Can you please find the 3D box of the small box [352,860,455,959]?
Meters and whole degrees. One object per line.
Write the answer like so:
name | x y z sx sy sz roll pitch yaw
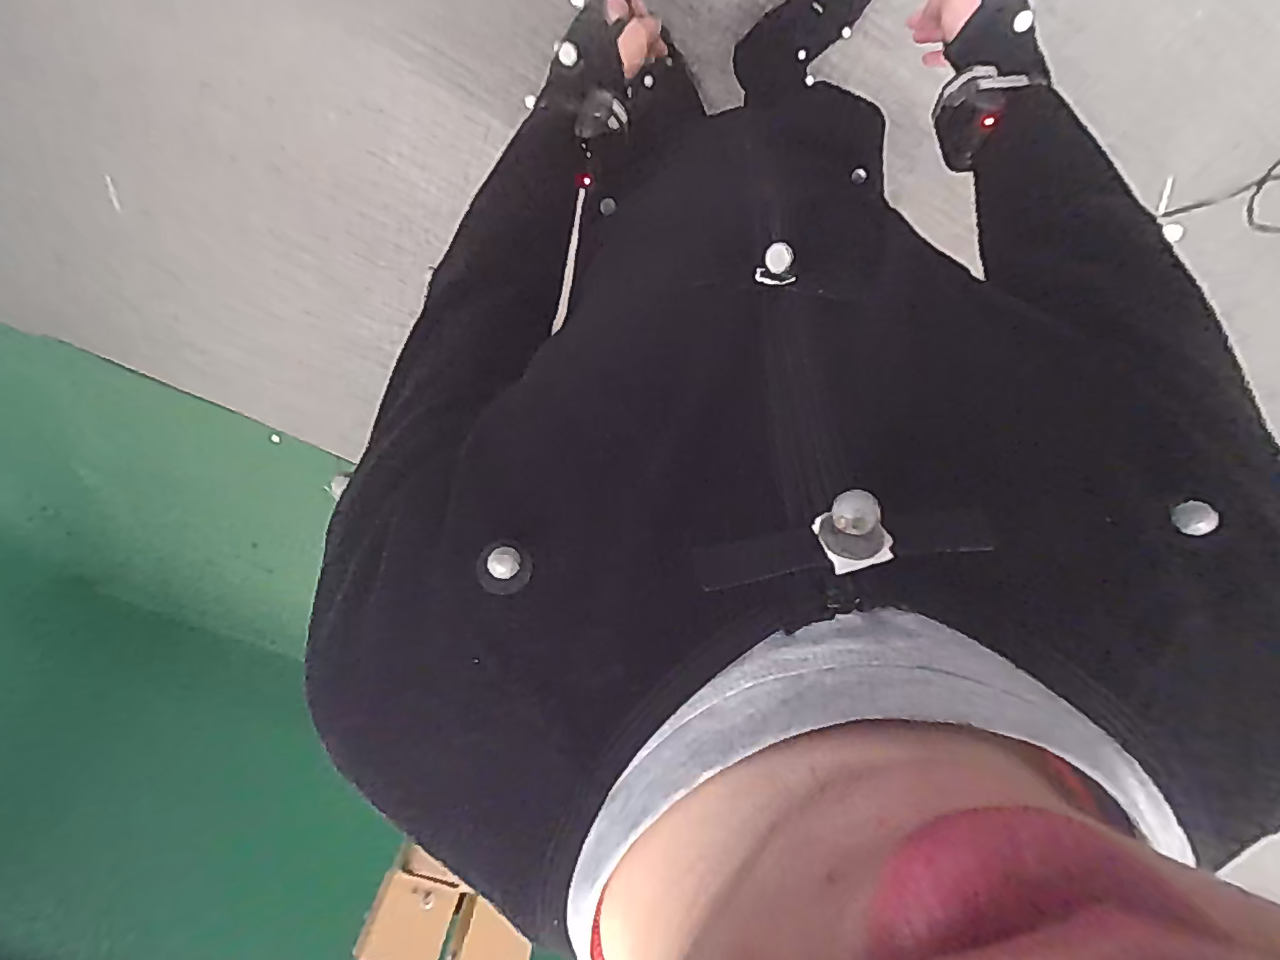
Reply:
small box | -0.568 1.039 1.306 0.168 0.176 0.179 26 137 -13
